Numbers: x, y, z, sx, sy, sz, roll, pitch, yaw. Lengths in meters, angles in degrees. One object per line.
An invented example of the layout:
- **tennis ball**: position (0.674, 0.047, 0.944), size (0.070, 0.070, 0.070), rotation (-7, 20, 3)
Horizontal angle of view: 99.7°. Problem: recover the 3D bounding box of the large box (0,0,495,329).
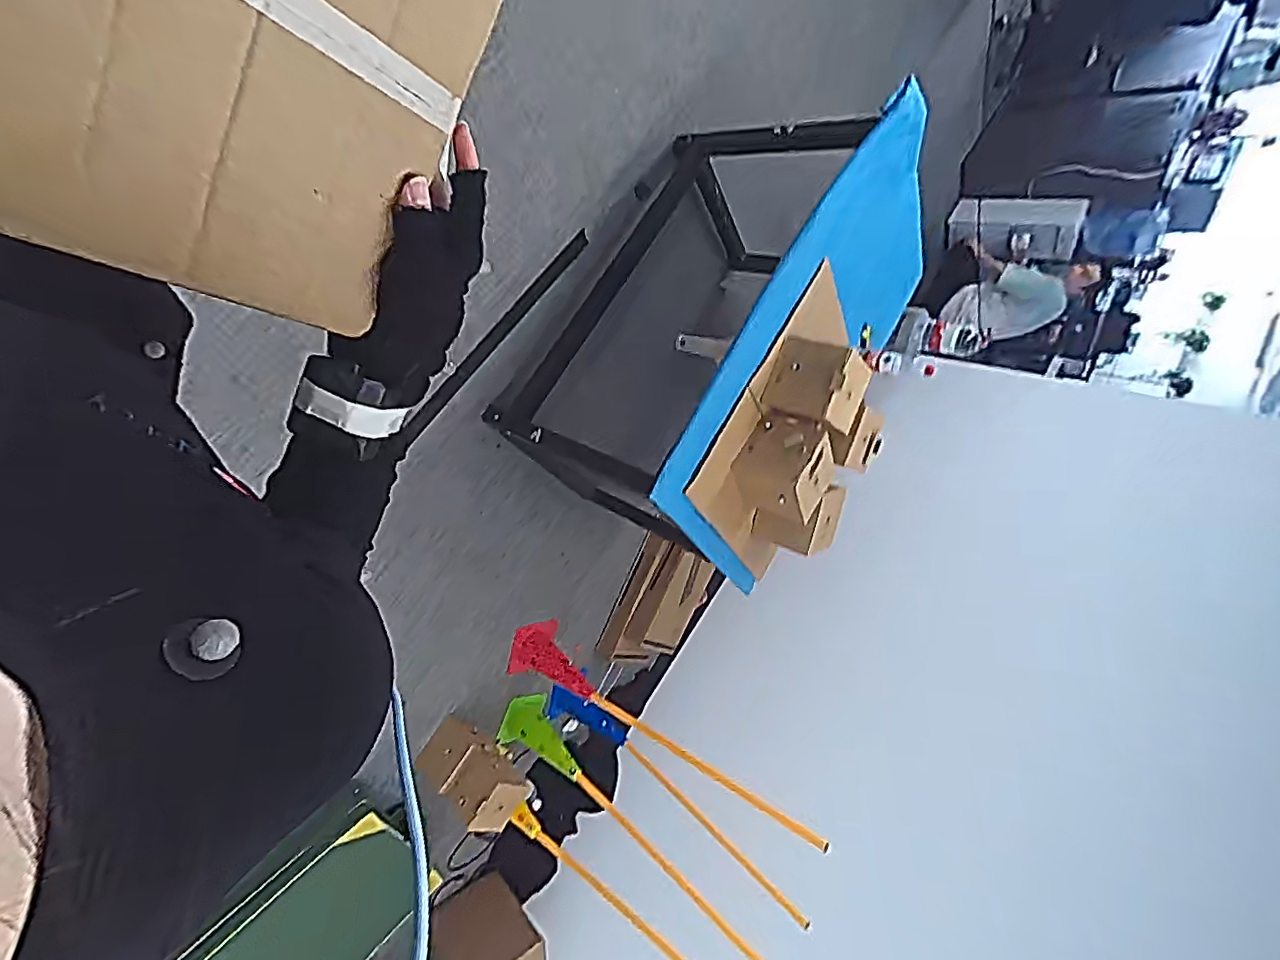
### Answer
- **large box**: position (-0.336, -0.334, 0.275), size (0.408, 0.320, 0.320), rotation (9, 121, -49)
